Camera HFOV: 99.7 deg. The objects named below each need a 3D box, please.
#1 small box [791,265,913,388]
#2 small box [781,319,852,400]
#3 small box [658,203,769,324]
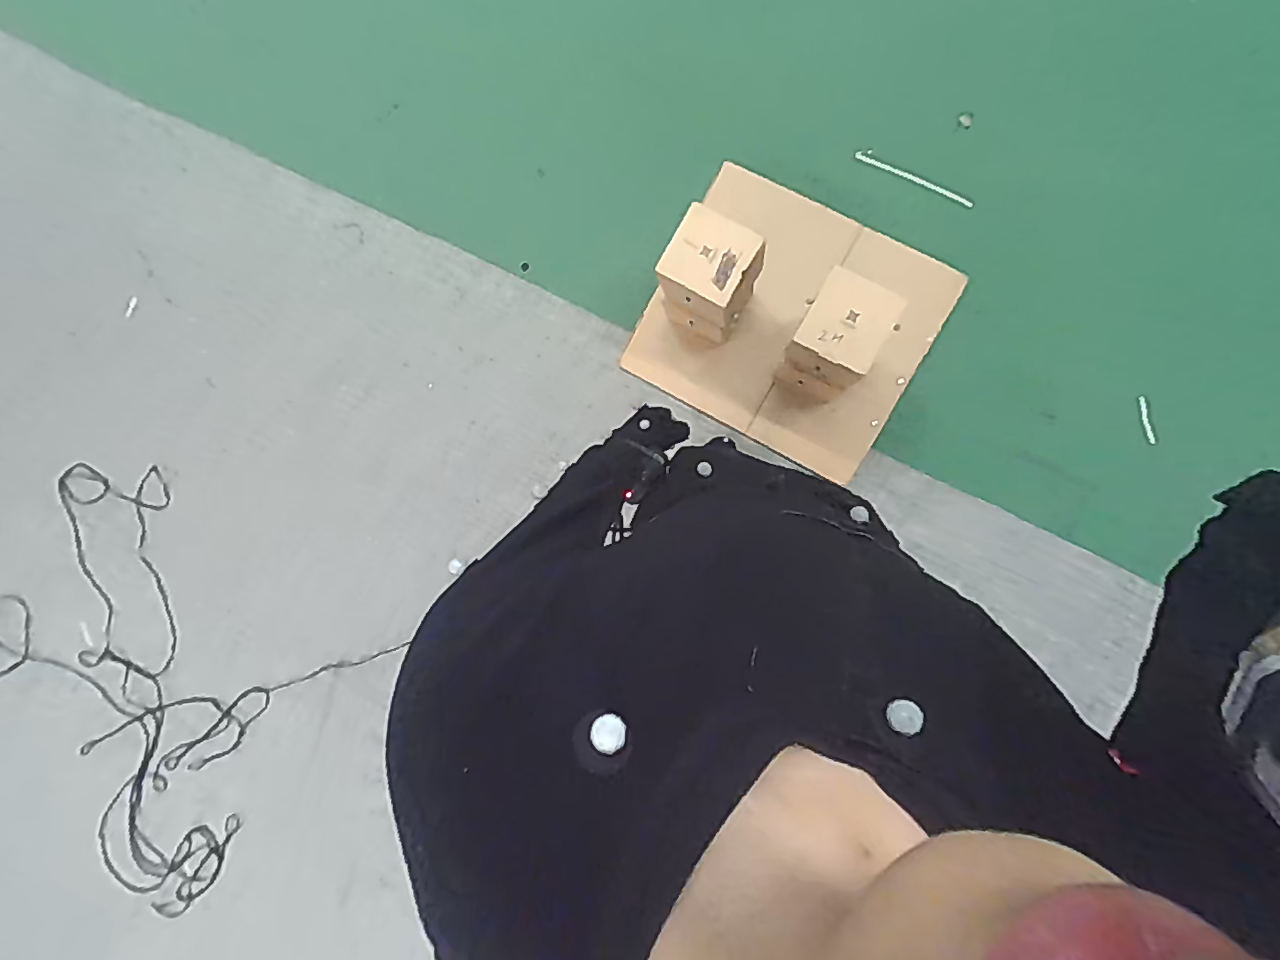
[{"bbox_3d":[0.439,-0.319,1.157,0.168,0.176,0.179,30,96,8],"label":"small box"},{"bbox_3d":[0.459,-0.313,1.322,0.168,0.176,0.179,28,96,7],"label":"small box"},{"bbox_3d":[0.165,-0.465,1.196,0.179,0.176,0.168,33,96,9],"label":"small box"}]
